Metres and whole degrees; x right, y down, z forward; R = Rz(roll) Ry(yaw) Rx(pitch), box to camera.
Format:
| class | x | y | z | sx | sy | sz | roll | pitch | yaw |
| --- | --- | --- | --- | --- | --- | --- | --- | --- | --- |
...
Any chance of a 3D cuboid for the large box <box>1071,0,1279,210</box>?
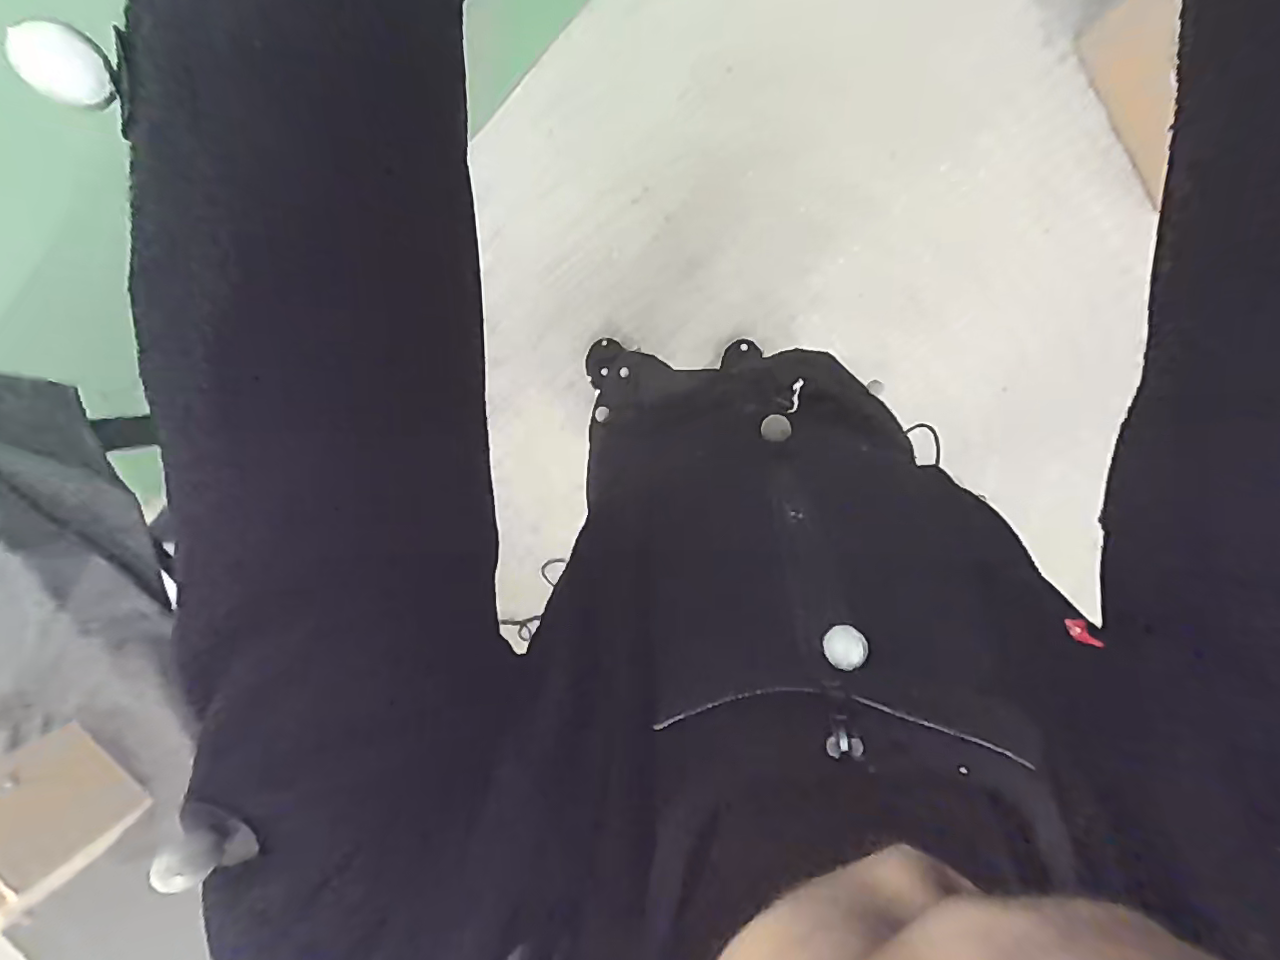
| class | x | y | z | sx | sy | sz | roll | pitch | yaw |
| --- | --- | --- | --- | --- | --- | --- | --- | --- | --- |
| large box | 1.063 | -0.760 | 0.914 | 0.320 | 0.320 | 0.408 | -33 | 96 | 13 |
